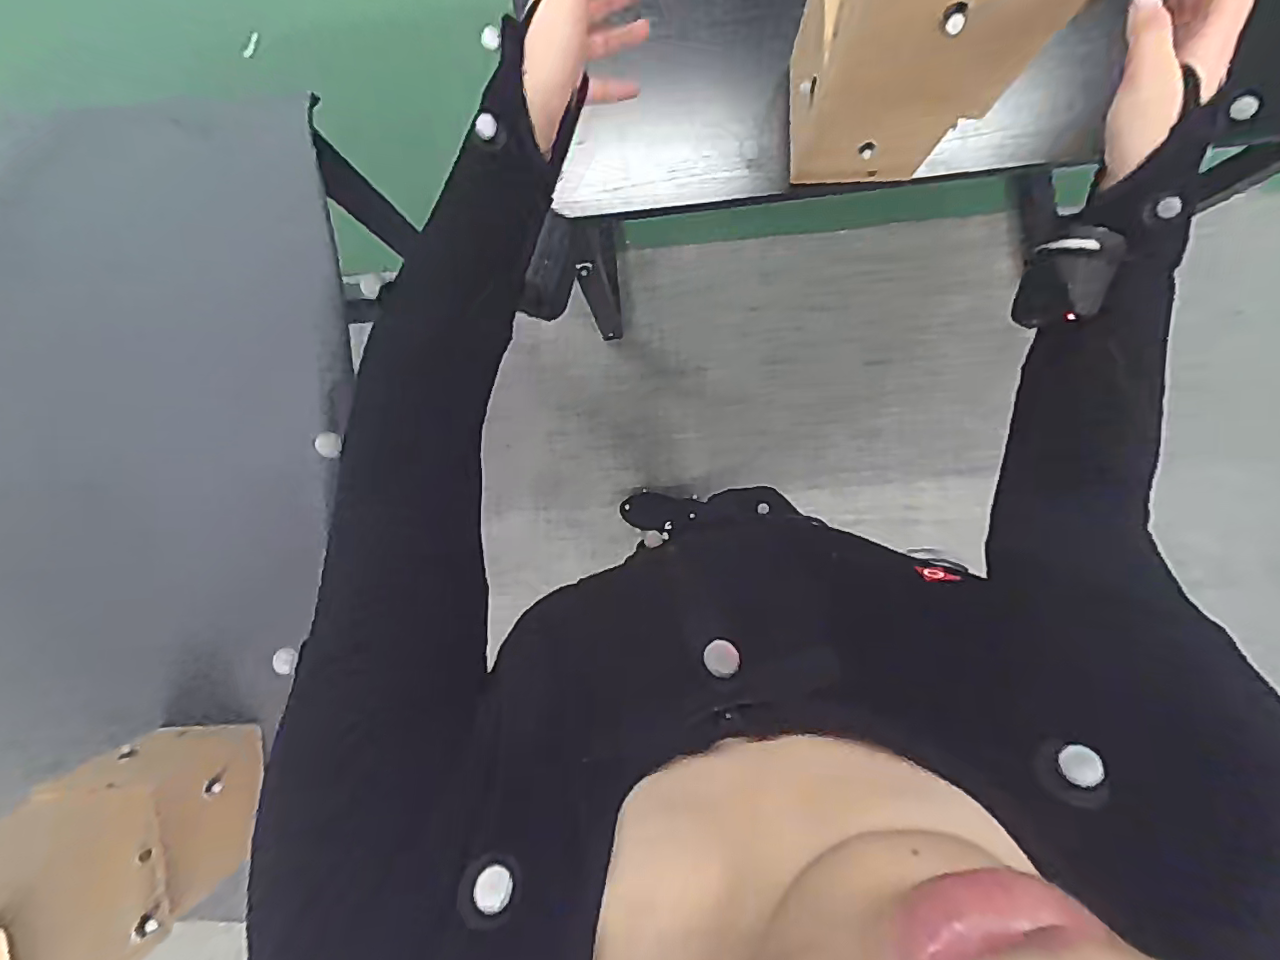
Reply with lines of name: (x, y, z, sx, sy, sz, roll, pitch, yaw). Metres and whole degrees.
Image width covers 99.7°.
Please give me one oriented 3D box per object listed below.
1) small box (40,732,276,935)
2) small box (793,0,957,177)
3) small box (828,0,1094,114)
small box: (-0.625, 0.454, 0.721, 0.168, 0.176, 0.179, -5, 90, 6)
small box: (0.291, -0.498, 0.666, 0.168, 0.176, 0.179, 0, 90, 3)
small box: (0.296, -0.478, 0.503, 0.179, 0.176, 0.168, 8, 91, 3)
